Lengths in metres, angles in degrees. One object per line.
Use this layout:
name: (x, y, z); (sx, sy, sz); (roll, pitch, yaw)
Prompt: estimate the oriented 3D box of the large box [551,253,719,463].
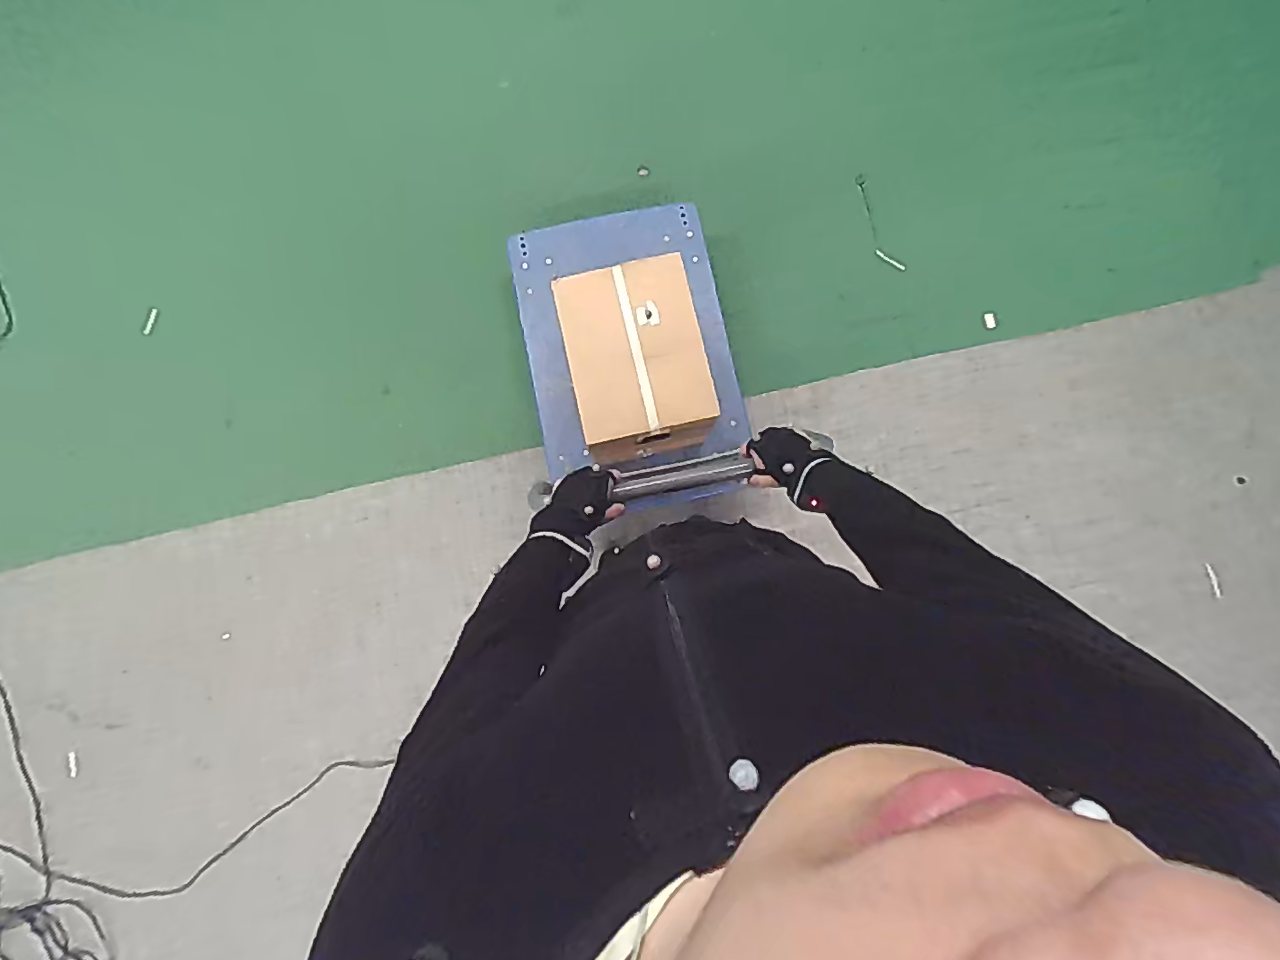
large box: (-0.010, -0.290, 1.392); (0.320, 0.320, 0.408); (-13, 83, -1)
